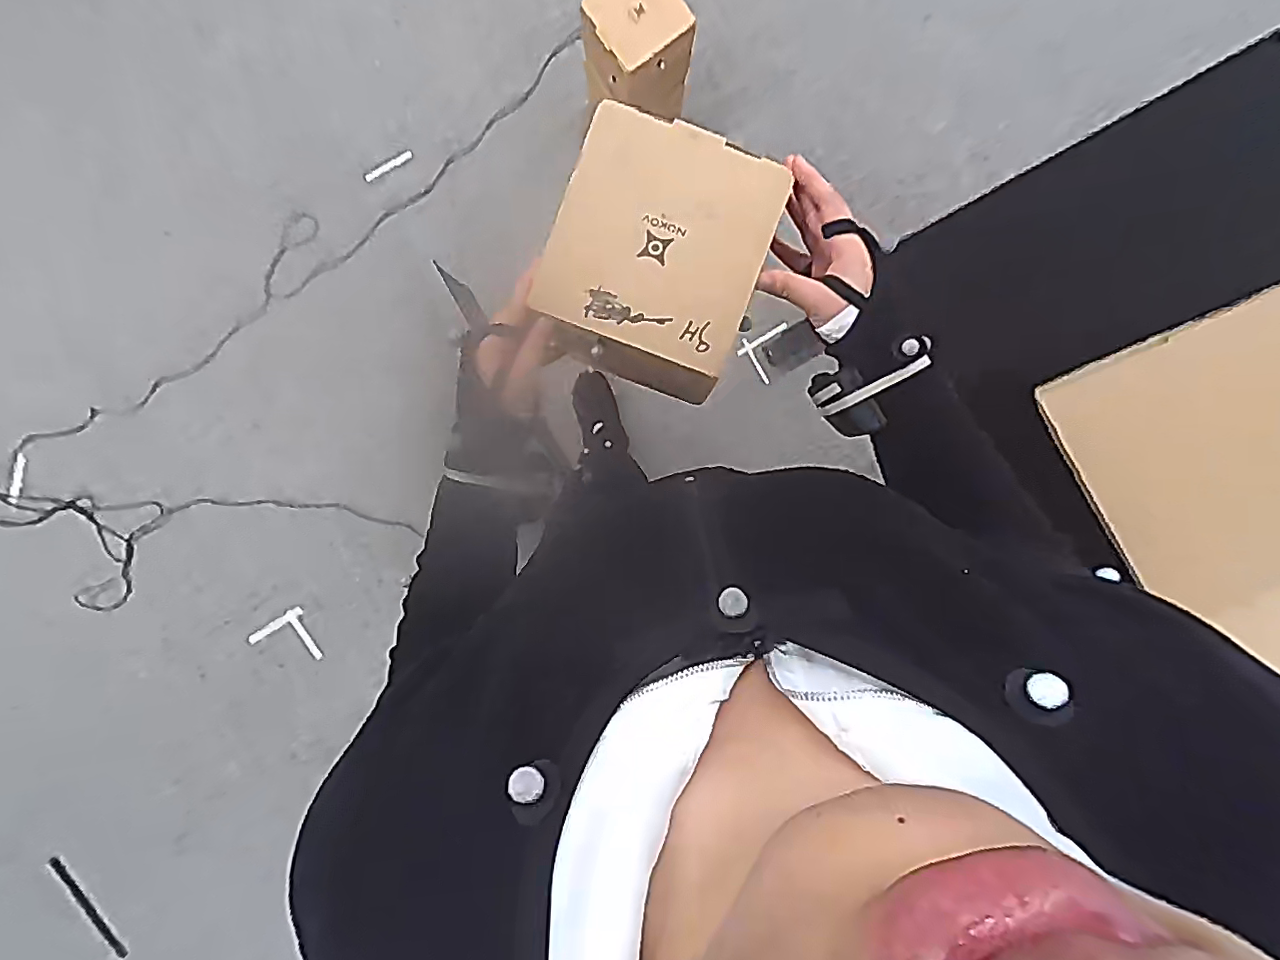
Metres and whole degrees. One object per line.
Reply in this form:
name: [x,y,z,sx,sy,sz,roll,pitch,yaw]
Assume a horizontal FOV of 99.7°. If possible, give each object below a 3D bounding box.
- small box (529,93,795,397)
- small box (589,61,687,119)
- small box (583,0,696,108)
small box: [0.018,-0.196,0.503,0.168,0.176,0.179,21,90,1]
small box: [-0.007,-0.940,1.324,0.179,0.176,0.168,-33,94,3]
small box: [-0.001,-0.931,1.162,0.179,0.176,0.168,-36,95,1]
